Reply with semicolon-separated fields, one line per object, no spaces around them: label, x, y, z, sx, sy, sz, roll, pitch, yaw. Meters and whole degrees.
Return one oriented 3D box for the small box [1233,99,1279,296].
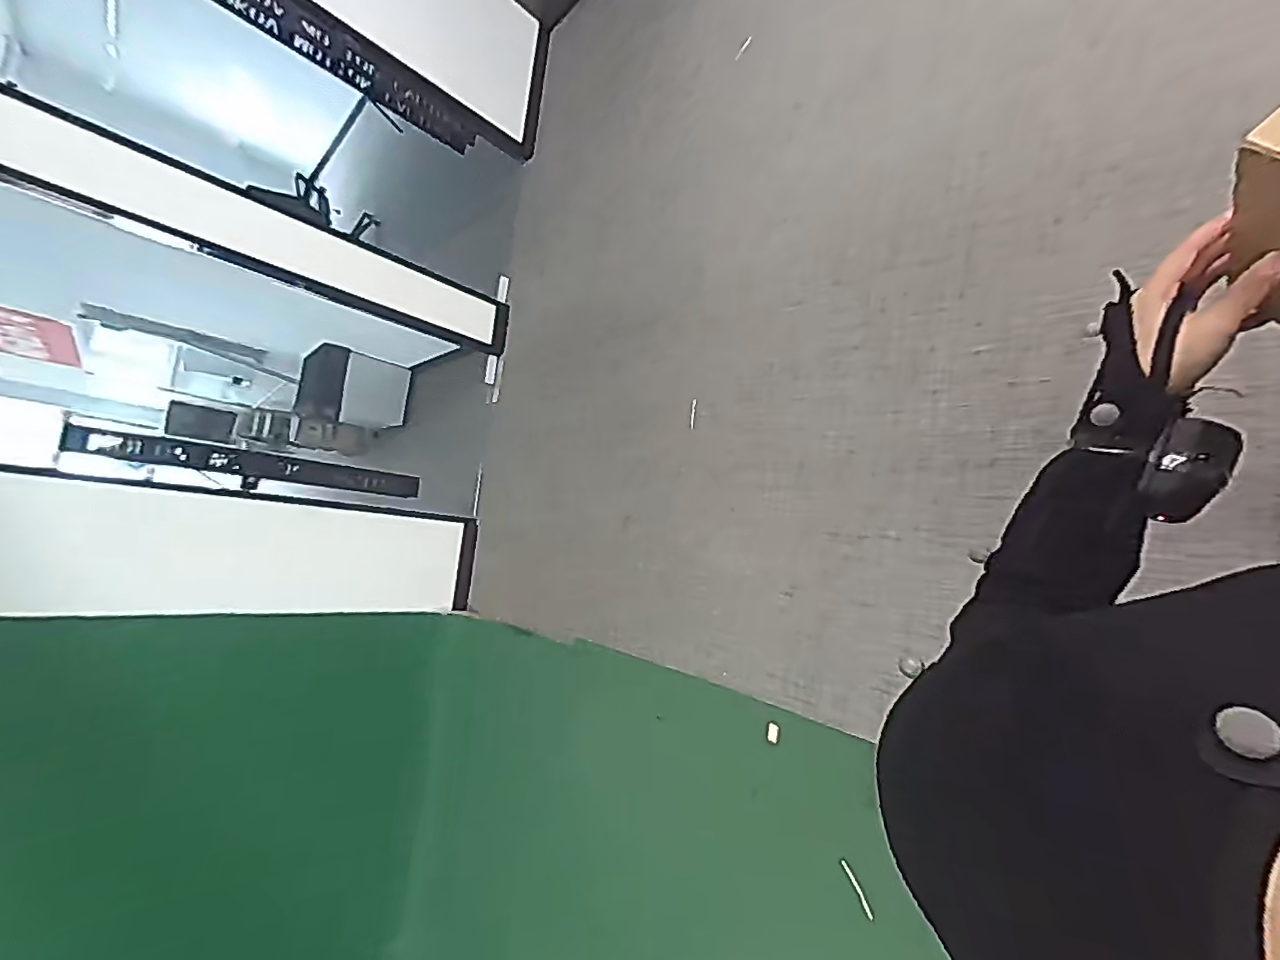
small box;0.475;-0.168;0.275;0.179;0.176;0.168;-44;47;25
